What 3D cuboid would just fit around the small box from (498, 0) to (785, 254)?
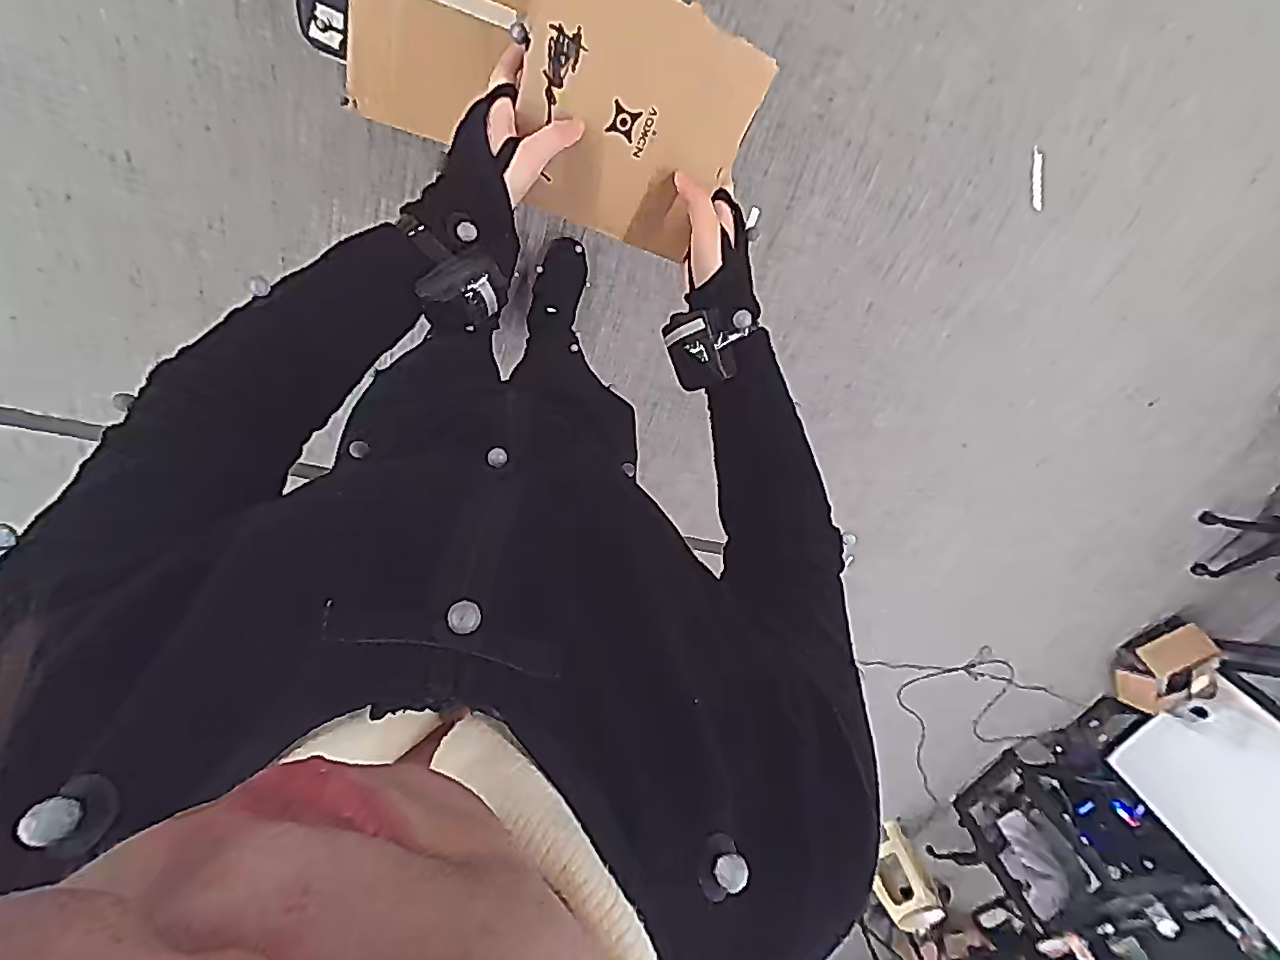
[{"bbox_3d":[-0.015,-0.333,0.466,0.179,0.176,0.168,12,130,-24],"label":"small box"}]
